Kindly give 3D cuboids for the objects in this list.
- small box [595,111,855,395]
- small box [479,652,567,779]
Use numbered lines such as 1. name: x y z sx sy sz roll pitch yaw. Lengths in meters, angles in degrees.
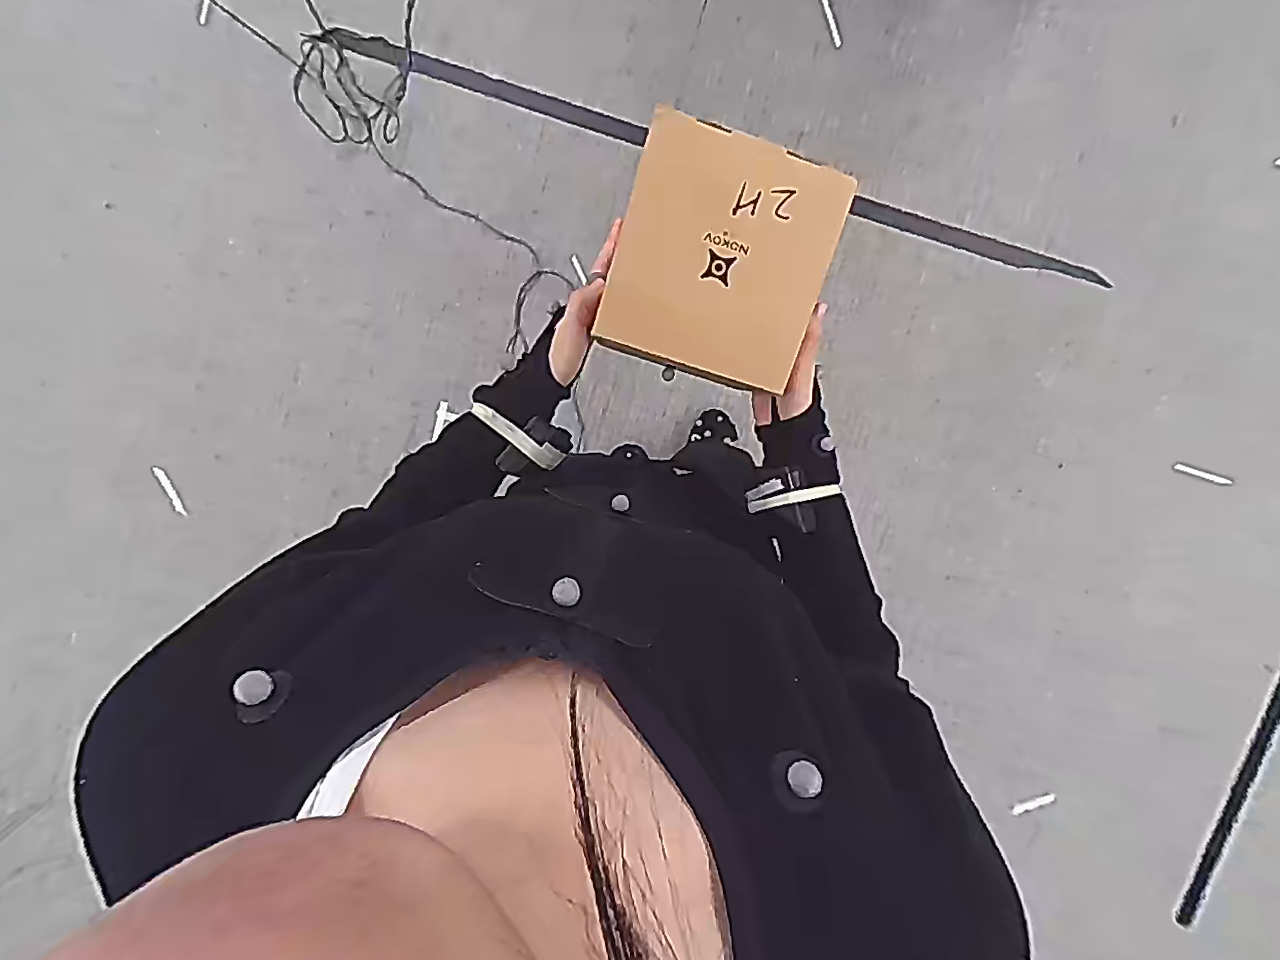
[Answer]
1. small box: 0.063 -0.189 0.507 0.168 0.176 0.179 17 99 -6
2. small box: -0.262 0.497 1.155 0.168 0.176 0.179 16 94 0
